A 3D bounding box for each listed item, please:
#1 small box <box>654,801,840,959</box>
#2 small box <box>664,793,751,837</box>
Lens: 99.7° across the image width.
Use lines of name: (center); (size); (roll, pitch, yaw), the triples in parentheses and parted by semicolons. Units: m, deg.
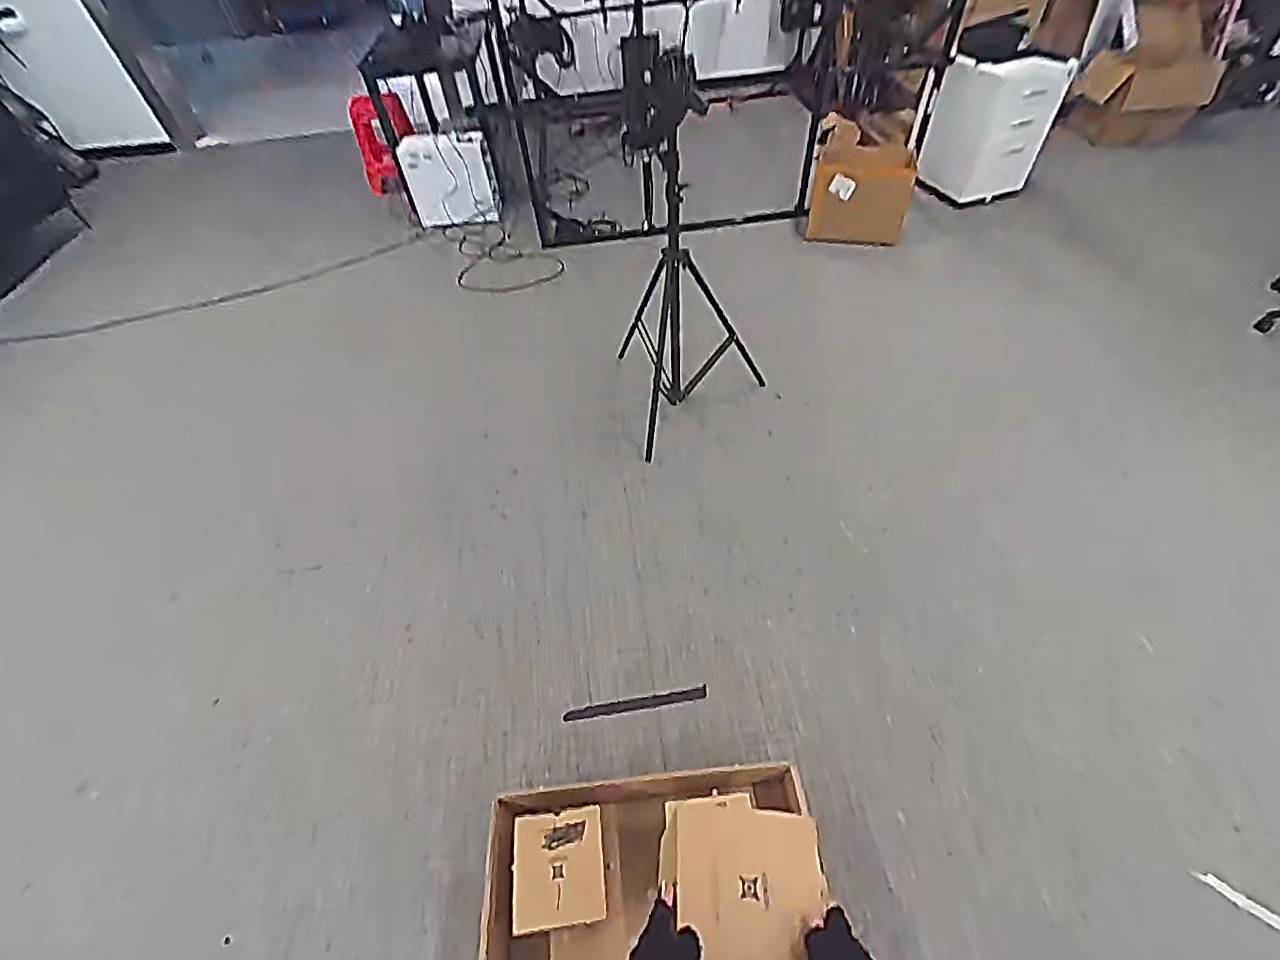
small box: (0.117, 0.516, 0.653); (0.179, 0.176, 0.168); (7, 39, -2)
small box: (0.142, 0.722, 1.043); (0.168, 0.176, 0.179); (-7, 51, 2)
